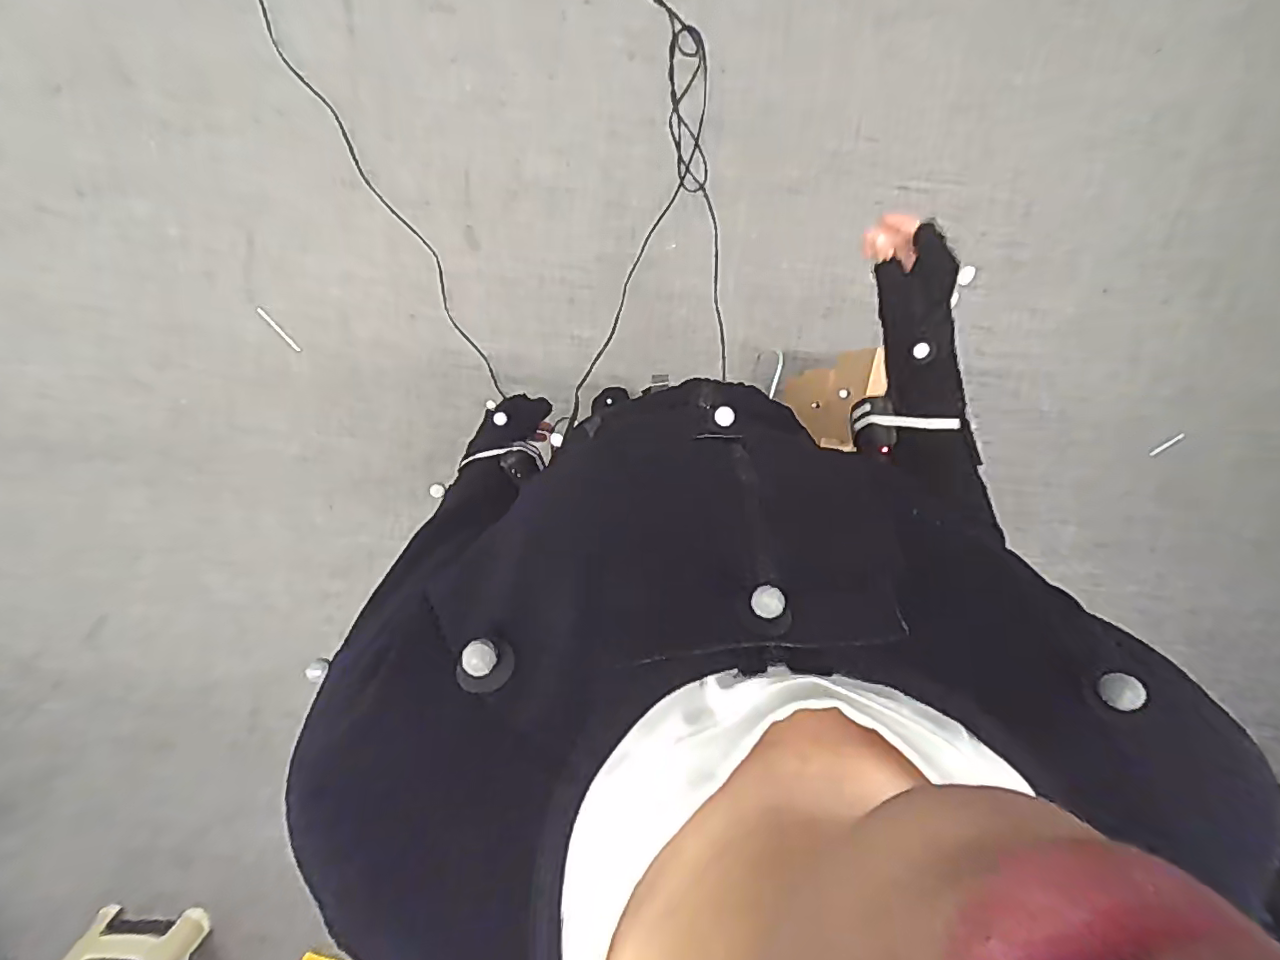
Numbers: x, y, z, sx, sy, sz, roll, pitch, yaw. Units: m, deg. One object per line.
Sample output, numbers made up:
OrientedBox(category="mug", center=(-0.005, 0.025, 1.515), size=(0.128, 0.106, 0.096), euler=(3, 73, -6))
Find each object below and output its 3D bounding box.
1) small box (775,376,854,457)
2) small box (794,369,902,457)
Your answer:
OrientedBox(category="small box", center=(0.457, -0.167, 1.386), size=(0.168, 0.176, 0.179), euler=(8, 101, -3))
OrientedBox(category="small box", center=(0.460, -0.155, 1.221), size=(0.168, 0.176, 0.179), euler=(5, 101, -2))
